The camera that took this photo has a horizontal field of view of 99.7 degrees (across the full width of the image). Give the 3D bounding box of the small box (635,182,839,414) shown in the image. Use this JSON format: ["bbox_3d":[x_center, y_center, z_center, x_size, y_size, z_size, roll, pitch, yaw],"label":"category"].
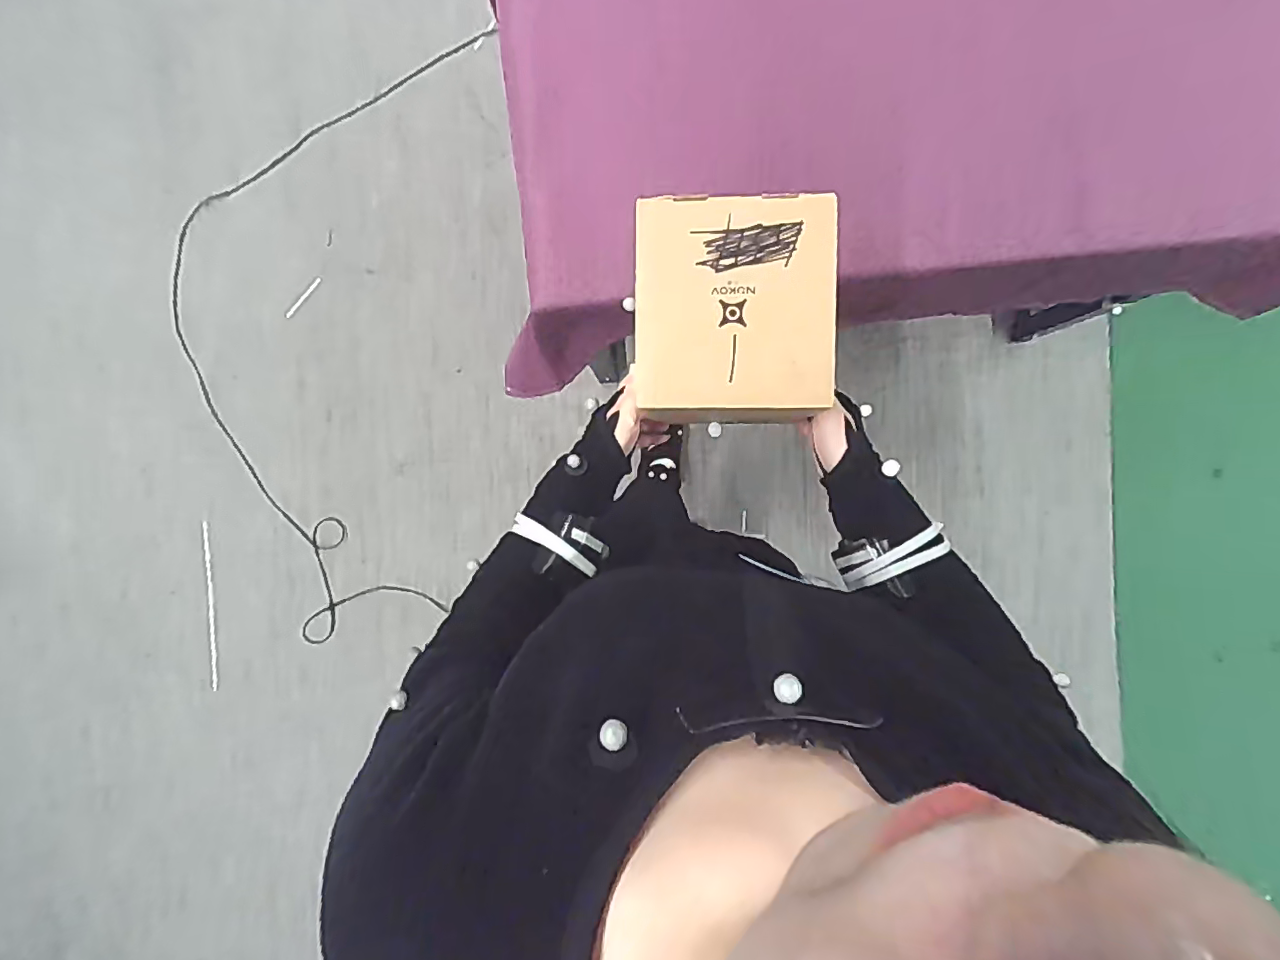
[{"bbox_3d":[0.083,-0.160,0.525,0.168,0.176,0.179,1,93,4],"label":"small box"}]
